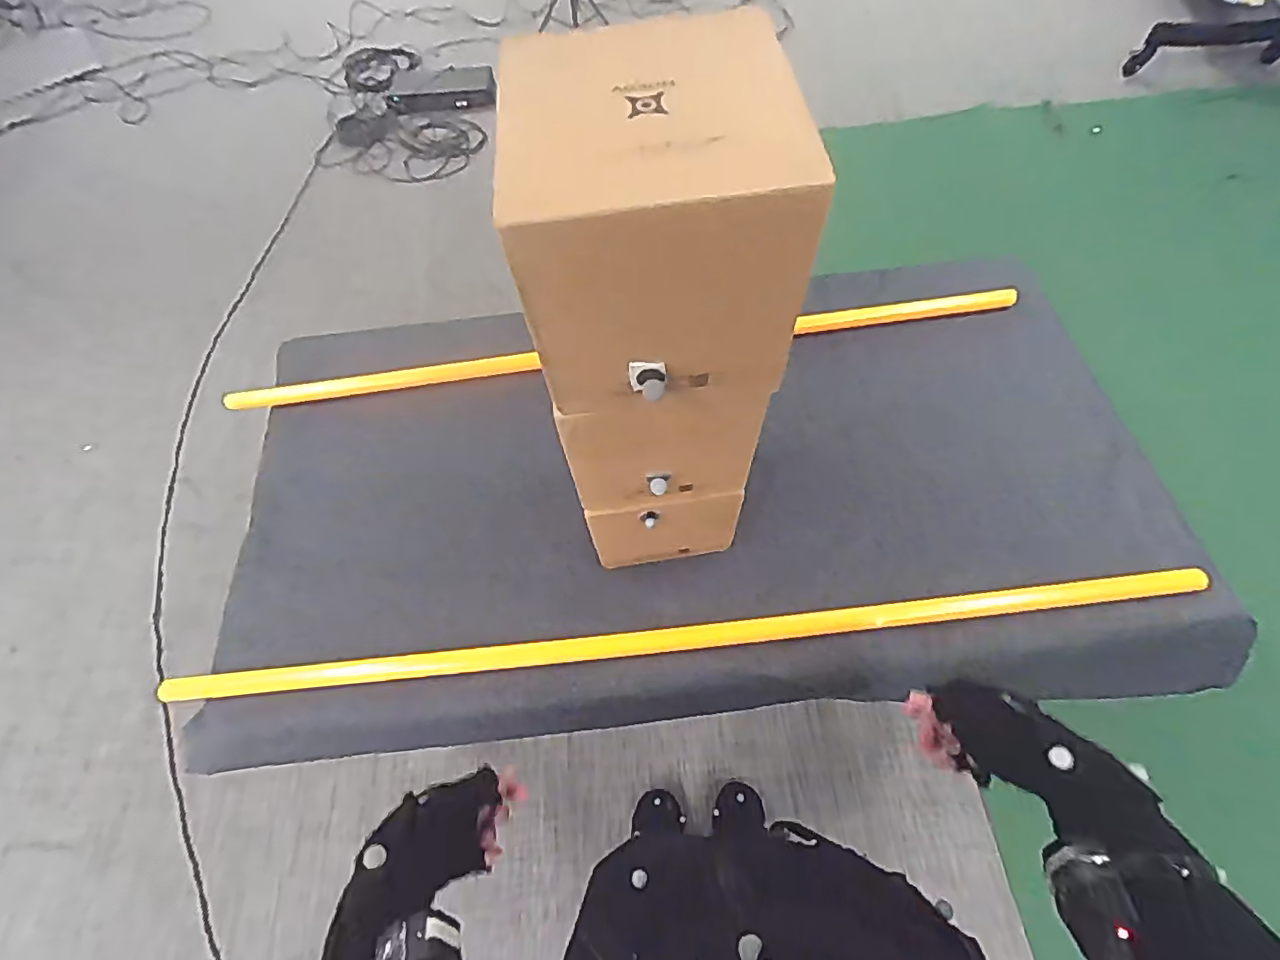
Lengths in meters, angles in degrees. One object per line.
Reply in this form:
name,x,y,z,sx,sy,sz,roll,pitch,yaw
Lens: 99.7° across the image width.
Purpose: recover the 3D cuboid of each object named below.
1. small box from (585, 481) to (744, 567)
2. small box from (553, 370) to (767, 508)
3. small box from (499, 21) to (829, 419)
small box,0.020,-0.012,0.660,0.168,0.176,0.179,-9,62,0
small box,0.011,-0.092,0.517,0.168,0.176,0.179,-7,63,0
small box,0.009,-0.166,0.373,0.168,0.176,0.179,-8,63,1
